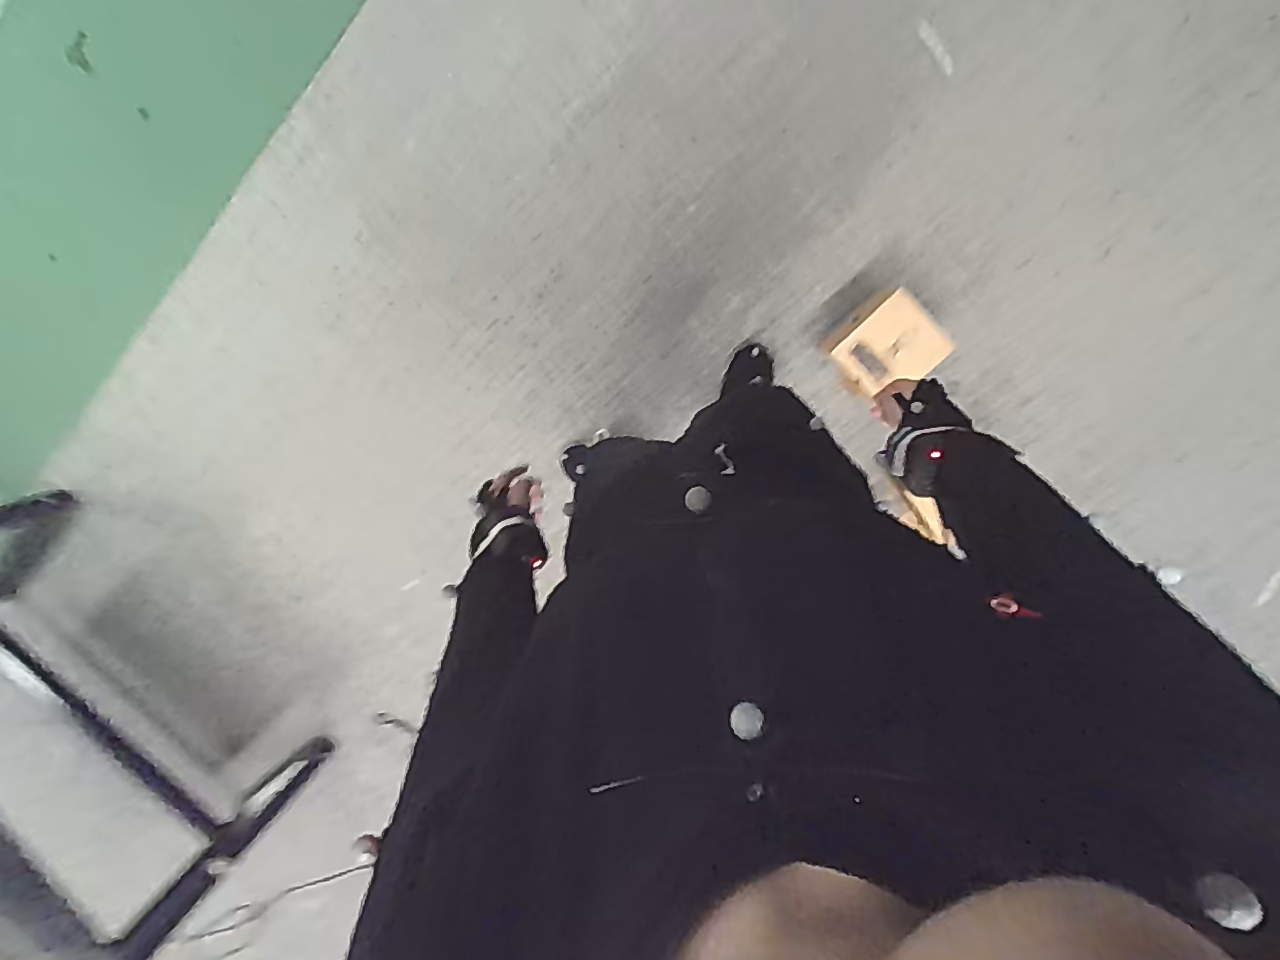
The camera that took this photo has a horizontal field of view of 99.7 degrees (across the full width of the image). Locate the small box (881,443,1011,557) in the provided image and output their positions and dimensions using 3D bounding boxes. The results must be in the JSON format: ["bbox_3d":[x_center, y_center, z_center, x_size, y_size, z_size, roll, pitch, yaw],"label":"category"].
[{"bbox_3d":[0.671,0.037,1.206,0.179,0.176,0.168,-27,102,15],"label":"small box"}]
